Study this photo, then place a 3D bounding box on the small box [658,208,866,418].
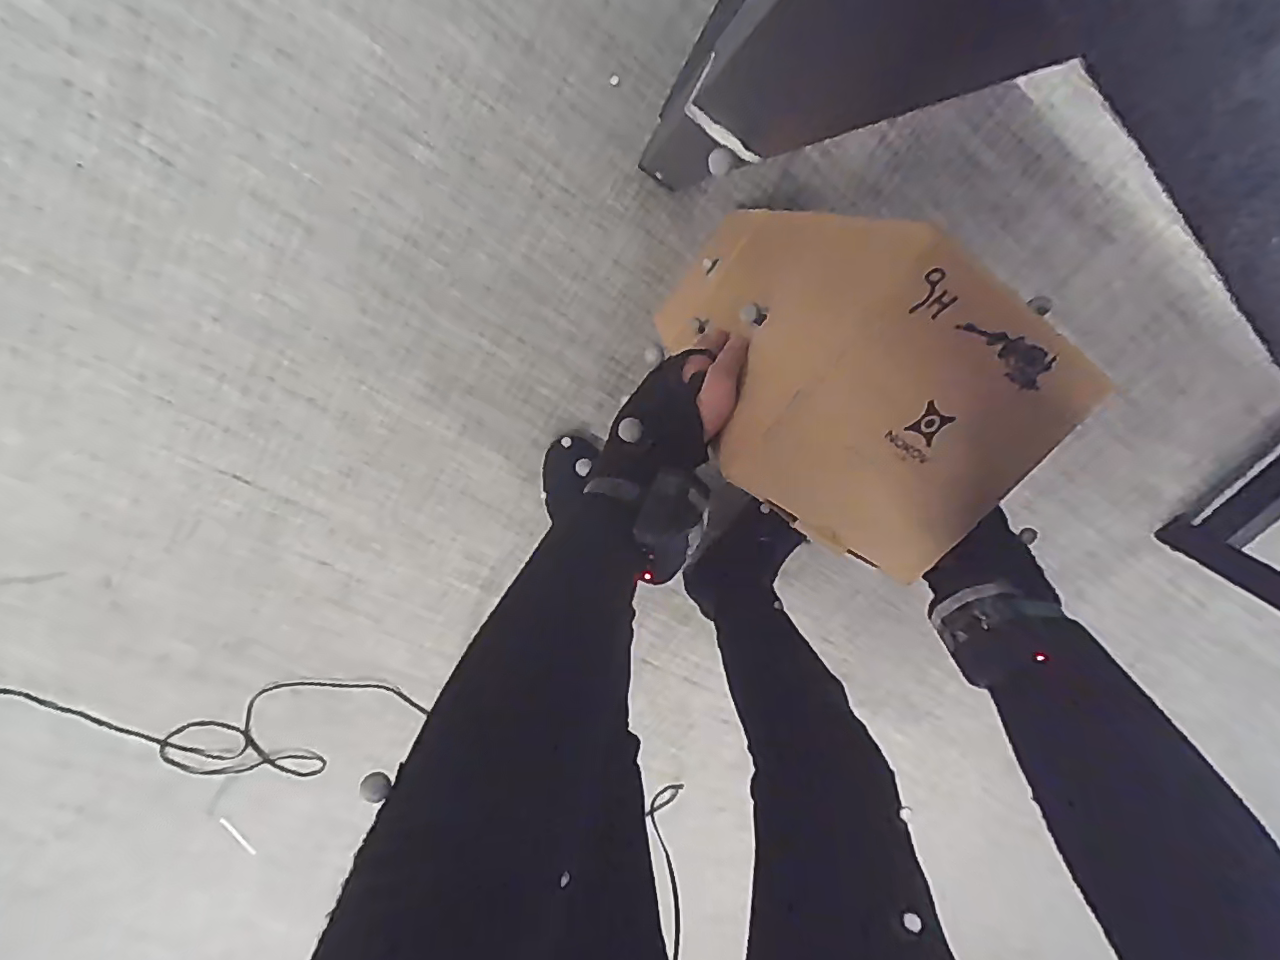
[{"bbox_3d":[0.136,-0.214,0.679,0.168,0.176,0.179,32,111,-18],"label":"small box"}]
